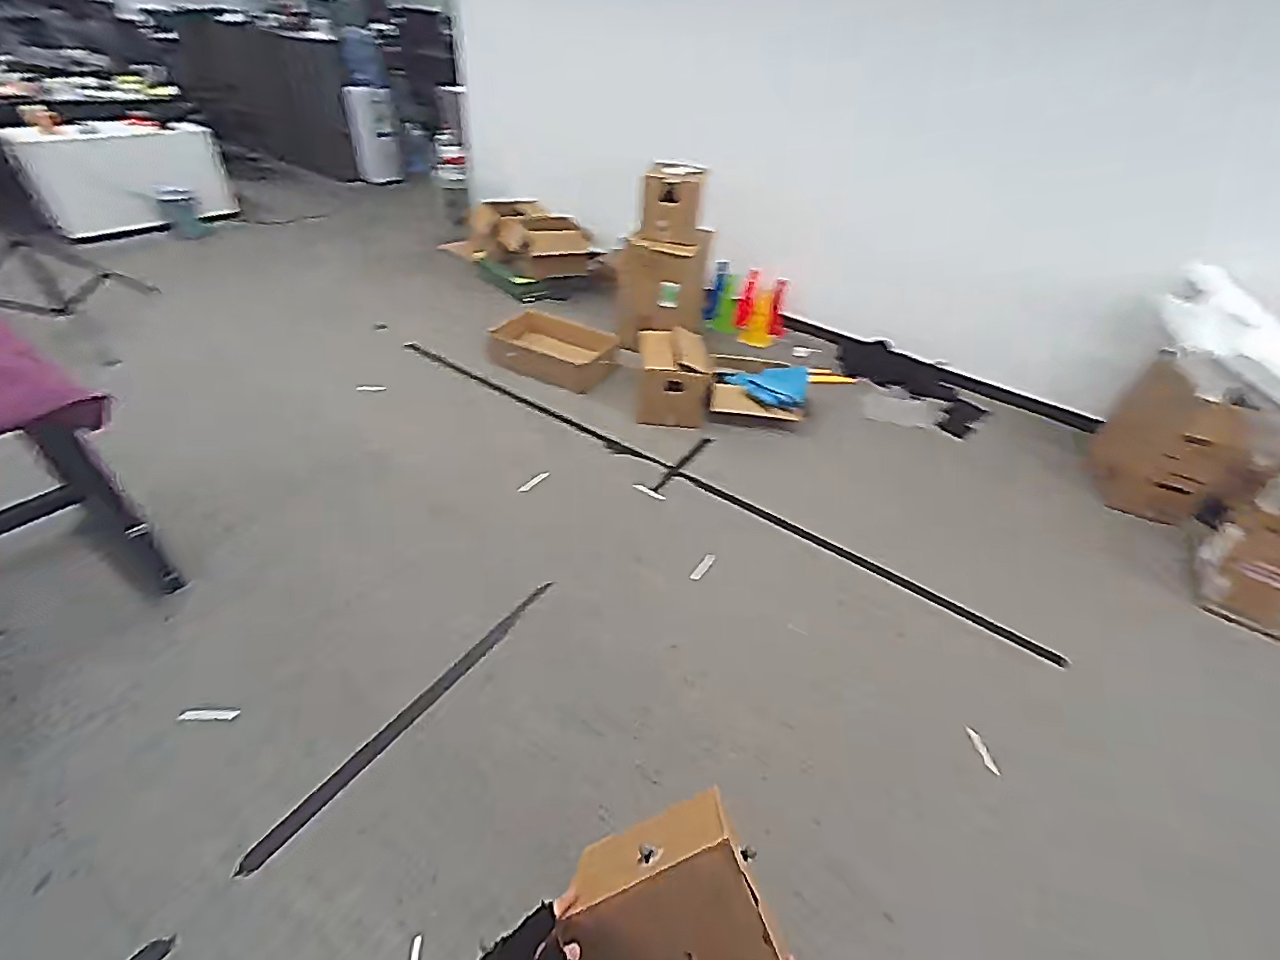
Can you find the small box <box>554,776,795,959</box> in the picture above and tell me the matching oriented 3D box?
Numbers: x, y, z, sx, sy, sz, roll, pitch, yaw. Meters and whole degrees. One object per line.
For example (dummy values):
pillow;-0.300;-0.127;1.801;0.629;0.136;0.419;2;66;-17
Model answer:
small box;0.038;0.430;0.540;0.179;0.176;0.168;-26;74;-3
